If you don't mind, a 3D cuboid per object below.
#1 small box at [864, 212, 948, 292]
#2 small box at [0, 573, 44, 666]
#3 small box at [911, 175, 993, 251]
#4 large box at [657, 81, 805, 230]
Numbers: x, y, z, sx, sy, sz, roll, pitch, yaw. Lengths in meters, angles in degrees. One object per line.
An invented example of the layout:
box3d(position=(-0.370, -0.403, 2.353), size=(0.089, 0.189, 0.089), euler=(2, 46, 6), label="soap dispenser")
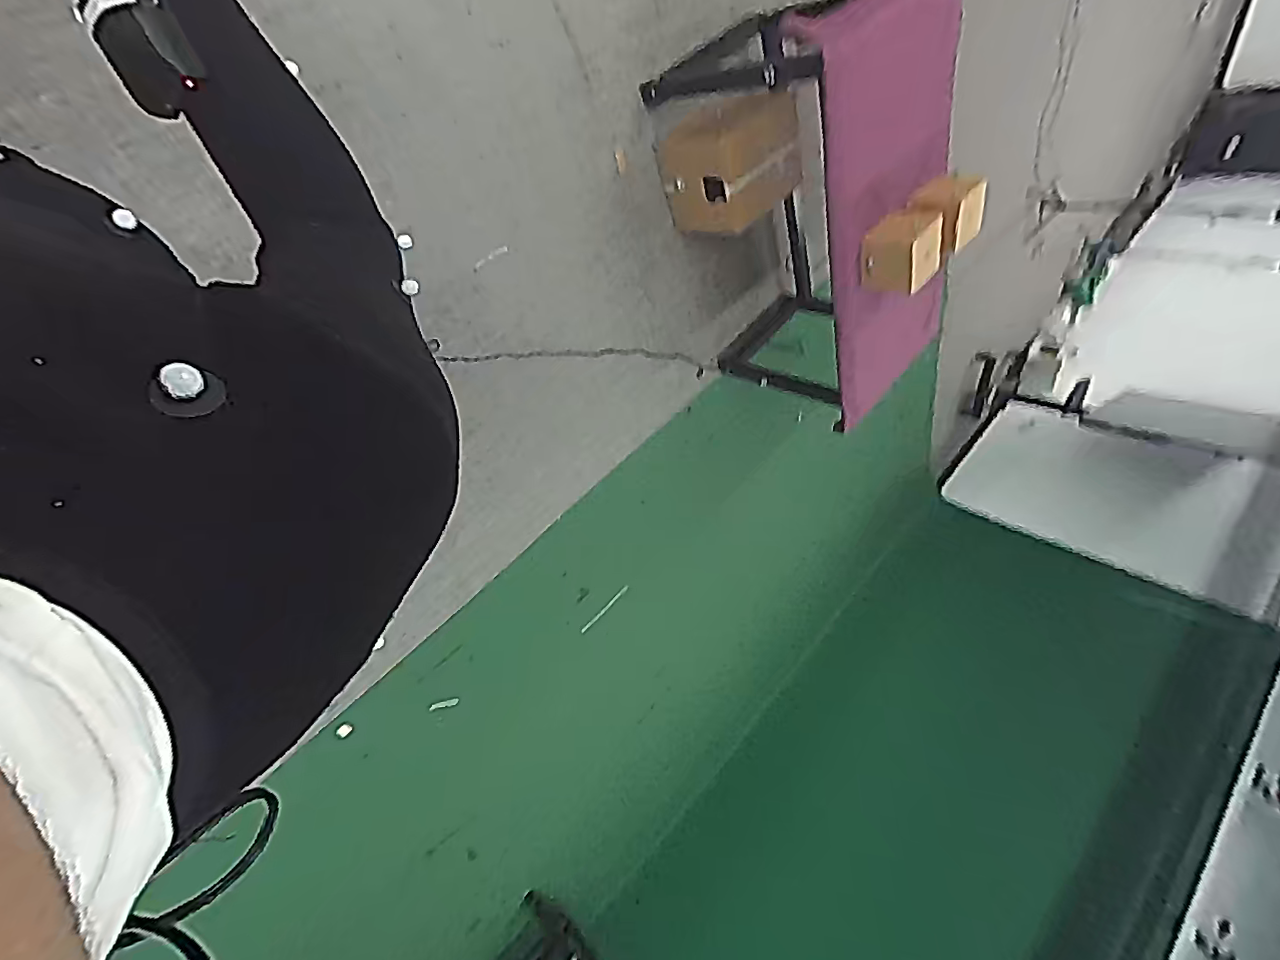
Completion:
box3d(position=(0.806, -0.701, 1.650), size=(0.179, 0.176, 0.168), euler=(-42, 135, -20), label="small box")
box3d(position=(-1.362, 0.285, 1.078), size=(0.168, 0.176, 0.179), euler=(-46, 137, -17), label="small box")
box3d(position=(1.000, -0.869, 1.750), size=(0.179, 0.176, 0.168), euler=(-41, 136, -19), label="small box")
box3d(position=(0.330, -1.147, 1.930), size=(0.408, 0.320, 0.320), euler=(-44, 137, -20), label="large box")
